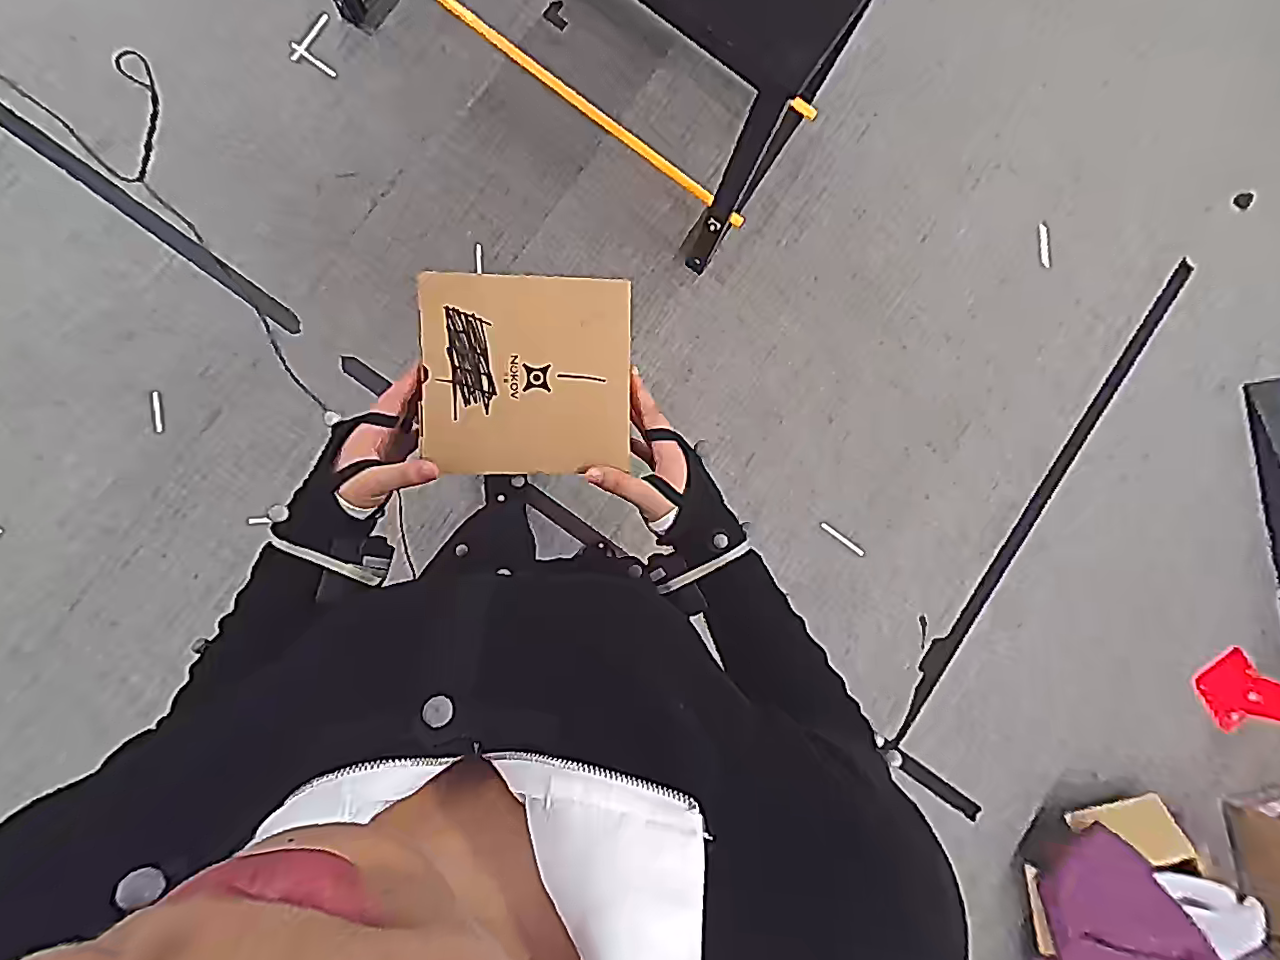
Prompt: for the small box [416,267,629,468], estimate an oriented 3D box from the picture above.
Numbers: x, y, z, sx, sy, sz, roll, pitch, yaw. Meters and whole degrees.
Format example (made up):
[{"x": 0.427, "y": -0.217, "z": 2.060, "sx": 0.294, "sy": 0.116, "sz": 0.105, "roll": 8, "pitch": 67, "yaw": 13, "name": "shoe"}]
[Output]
[{"x": -0.105, "y": -0.097, "z": 0.531, "sx": 0.179, "sy": 0.176, "sz": 0.168, "roll": 0, "pitch": 94, "yaw": -7, "name": "small box"}]
